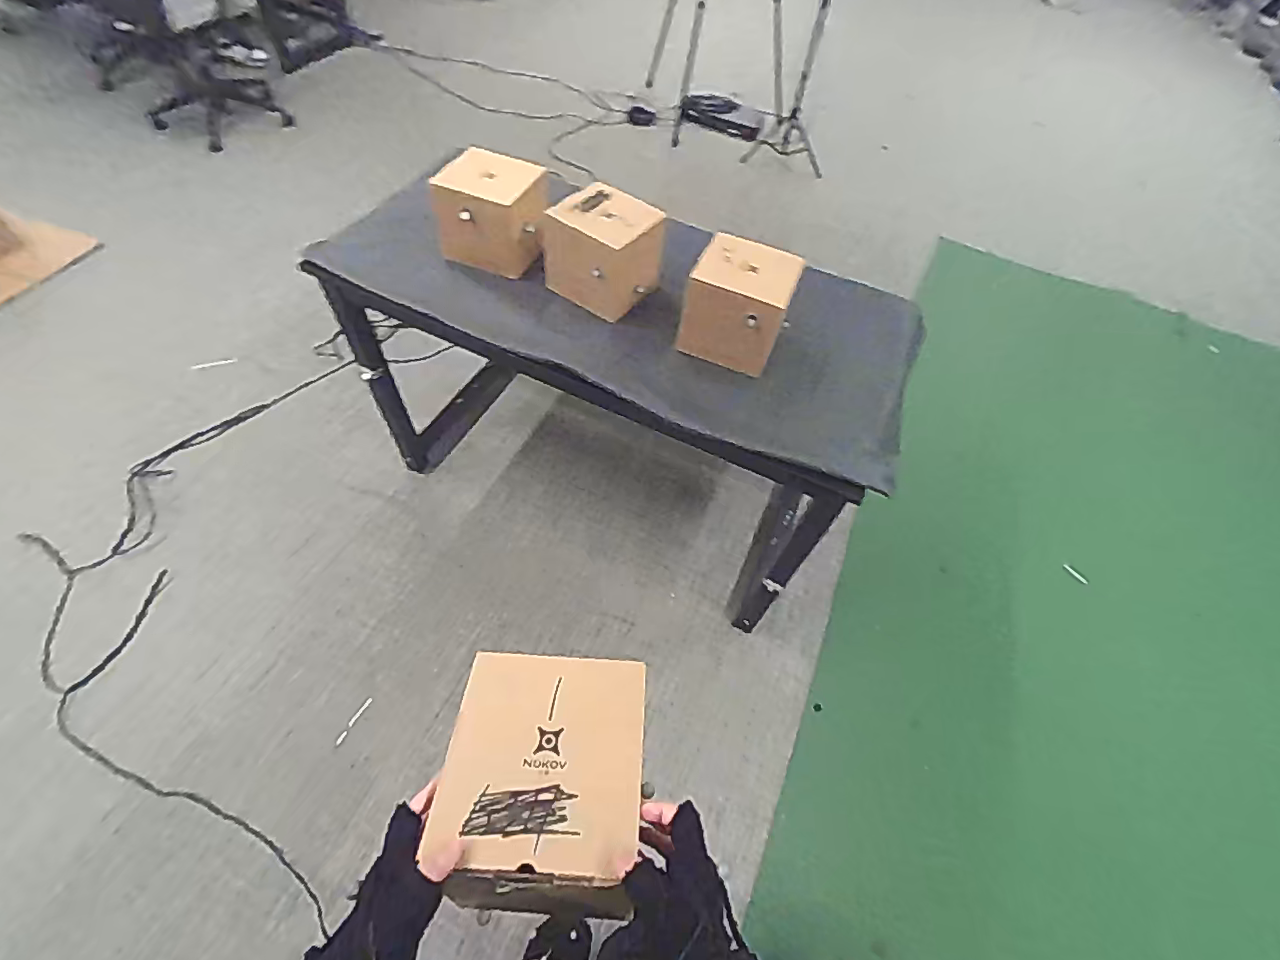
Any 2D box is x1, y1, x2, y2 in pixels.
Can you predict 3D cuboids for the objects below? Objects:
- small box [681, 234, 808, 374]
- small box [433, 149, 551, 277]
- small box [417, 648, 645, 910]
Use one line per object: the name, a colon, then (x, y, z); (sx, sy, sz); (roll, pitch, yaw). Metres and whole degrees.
small box: (0.194, -0.330, 1.035); (0.179, 0.176, 0.168); (22, 56, 9)
small box: (-0.299, -0.556, 1.141); (0.179, 0.176, 0.168); (19, 56, 8)
small box: (-0.082, 0.282, 0.510); (0.168, 0.176, 0.179); (3, 43, 0)
